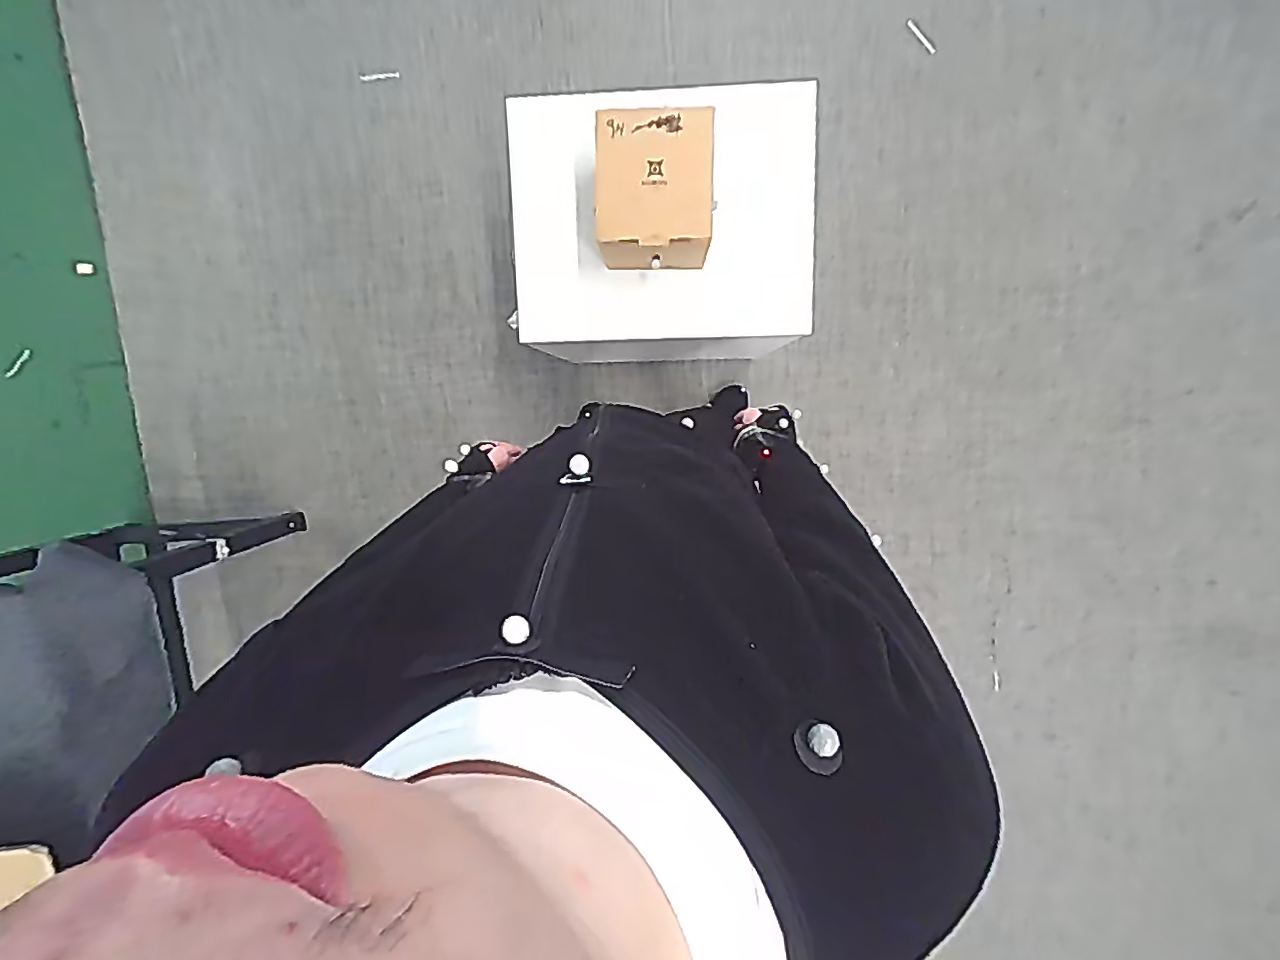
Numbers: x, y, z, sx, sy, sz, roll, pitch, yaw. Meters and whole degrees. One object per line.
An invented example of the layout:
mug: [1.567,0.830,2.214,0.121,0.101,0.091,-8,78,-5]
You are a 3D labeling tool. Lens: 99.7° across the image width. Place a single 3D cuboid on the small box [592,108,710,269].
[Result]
small box: [0.022,-0.432,0.832,0.168,0.176,0.179,-2,98,3]
